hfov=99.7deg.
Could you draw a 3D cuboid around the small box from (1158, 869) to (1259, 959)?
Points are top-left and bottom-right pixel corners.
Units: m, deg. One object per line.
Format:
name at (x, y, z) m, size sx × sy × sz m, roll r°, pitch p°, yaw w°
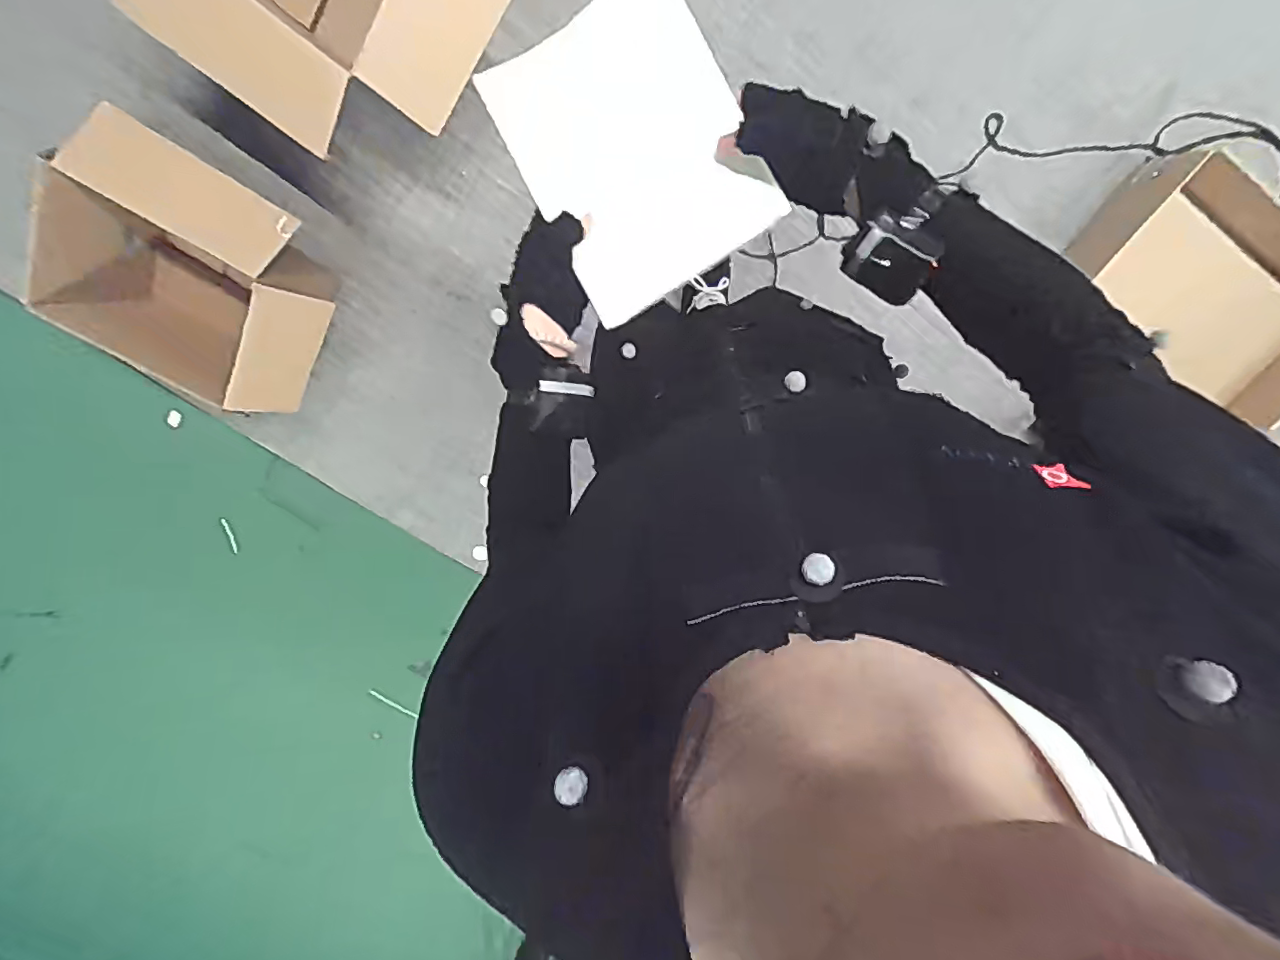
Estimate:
small box at (0.993, 0.861, 0.992) m, size 0.179 × 0.176 × 0.168 m, roll 37°, pitch 108°, yaw -13°
